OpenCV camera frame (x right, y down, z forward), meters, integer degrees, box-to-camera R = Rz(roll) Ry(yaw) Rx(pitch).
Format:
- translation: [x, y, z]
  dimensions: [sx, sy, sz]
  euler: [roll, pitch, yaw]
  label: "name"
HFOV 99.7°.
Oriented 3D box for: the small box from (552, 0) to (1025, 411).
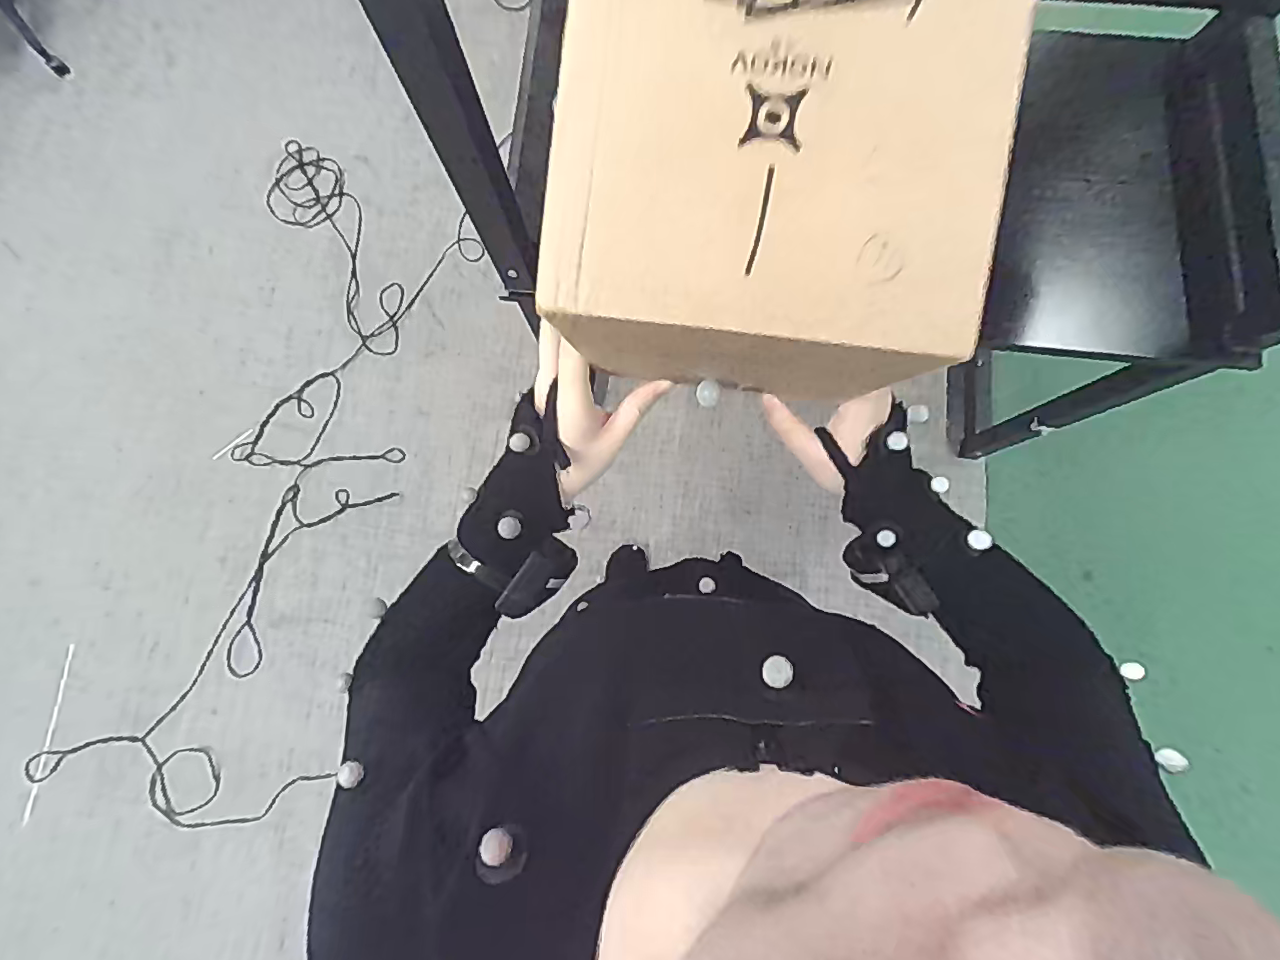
- translation: [0.061, -0.138, 0.289]
  dimensions: [0.168, 0.176, 0.179]
  euler: [8, 94, 5]
  label: "small box"
